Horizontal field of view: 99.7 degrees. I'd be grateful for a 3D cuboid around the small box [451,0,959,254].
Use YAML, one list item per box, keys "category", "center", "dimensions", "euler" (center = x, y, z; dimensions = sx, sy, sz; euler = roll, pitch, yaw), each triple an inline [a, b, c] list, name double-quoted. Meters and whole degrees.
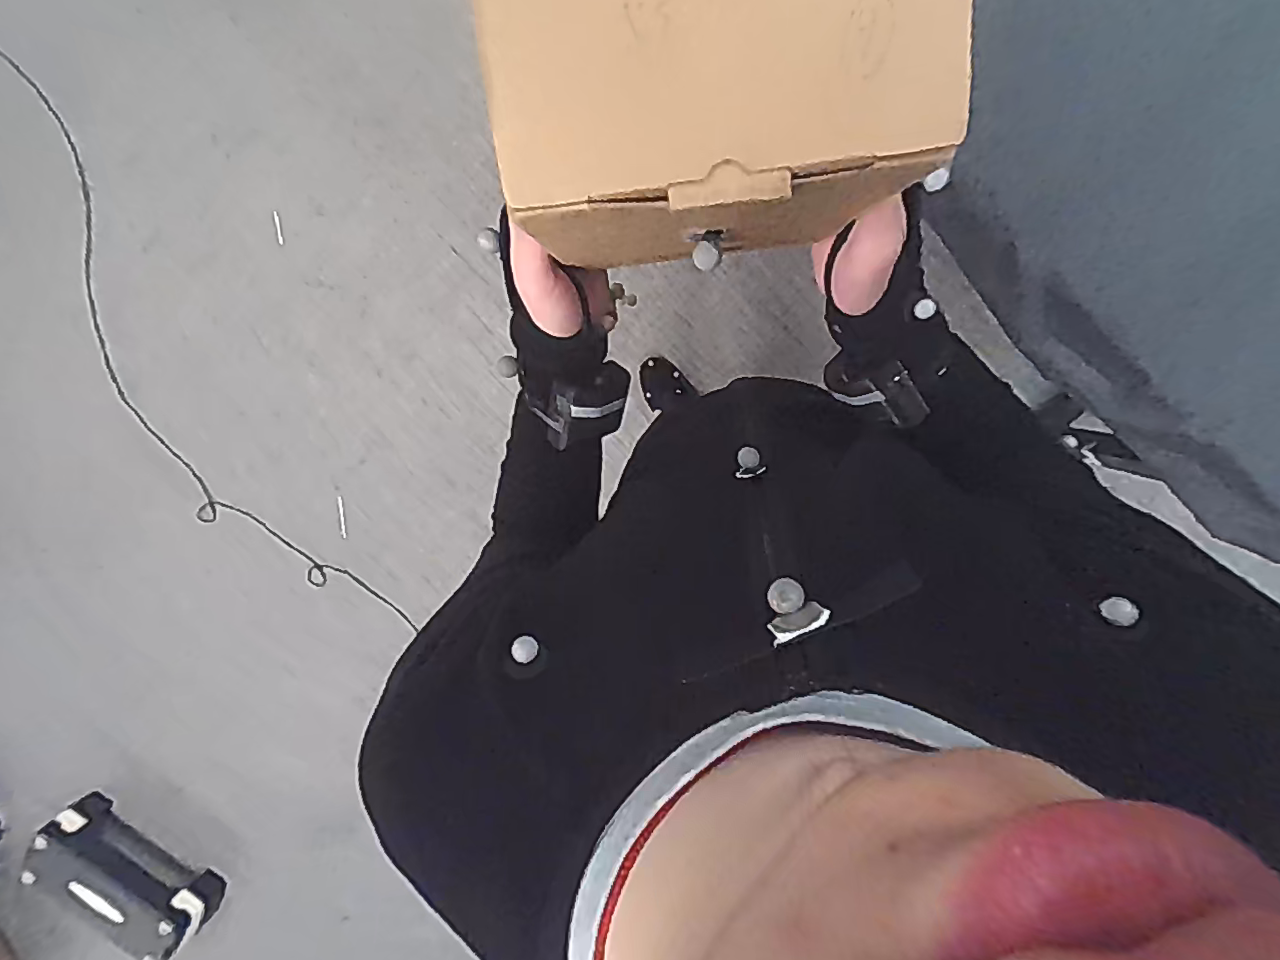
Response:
- category: "small box"
  center: [0.018, -0.205, 0.243]
  dimensions: [0.168, 0.176, 0.179]
  euler: [-6, 105, 1]
